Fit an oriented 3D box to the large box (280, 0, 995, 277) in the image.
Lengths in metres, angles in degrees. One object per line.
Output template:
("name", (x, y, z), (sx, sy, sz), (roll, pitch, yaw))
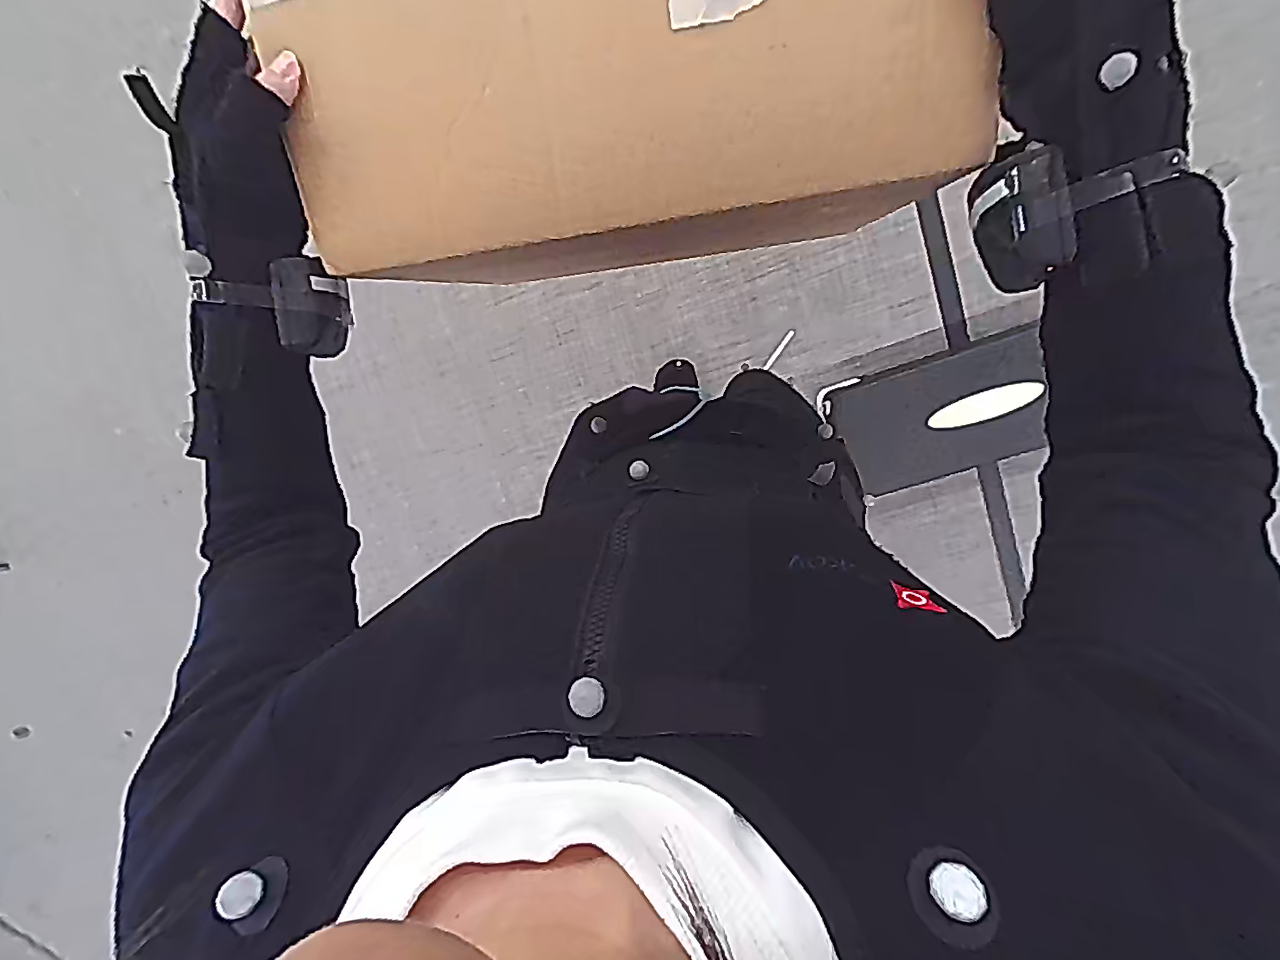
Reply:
("large box", (-0.003, -0.358, 0.428), (0.408, 0.320, 0.320), (-5, 109, 9))
